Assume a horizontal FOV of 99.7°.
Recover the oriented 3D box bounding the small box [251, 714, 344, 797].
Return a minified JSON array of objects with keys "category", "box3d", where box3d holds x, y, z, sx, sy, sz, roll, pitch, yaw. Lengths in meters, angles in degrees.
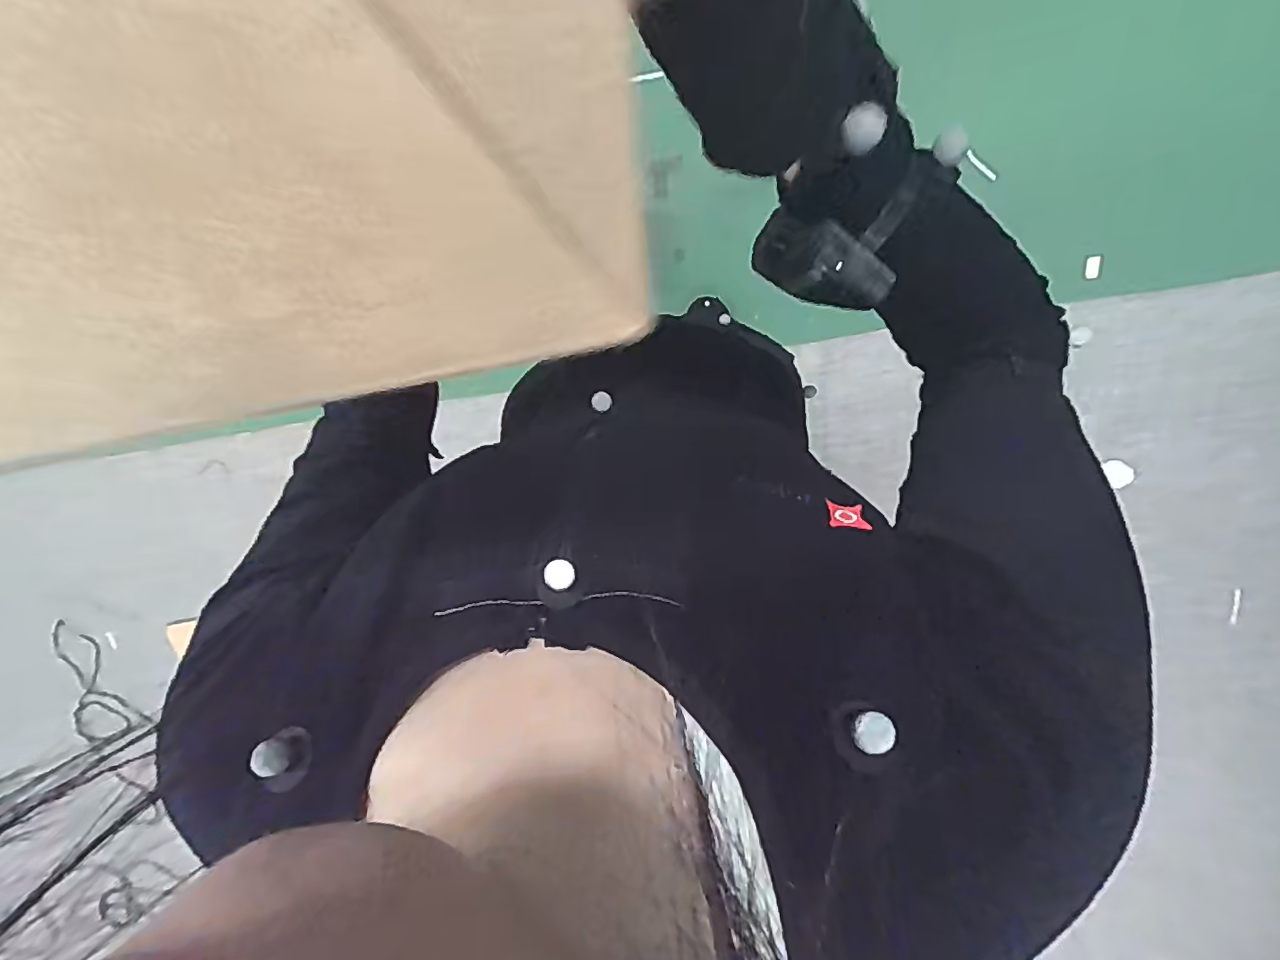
[{"category":"small box","box3d":[-1.111,0.899,1.778,0.179,0.176,0.168,-15,105,10]}]
